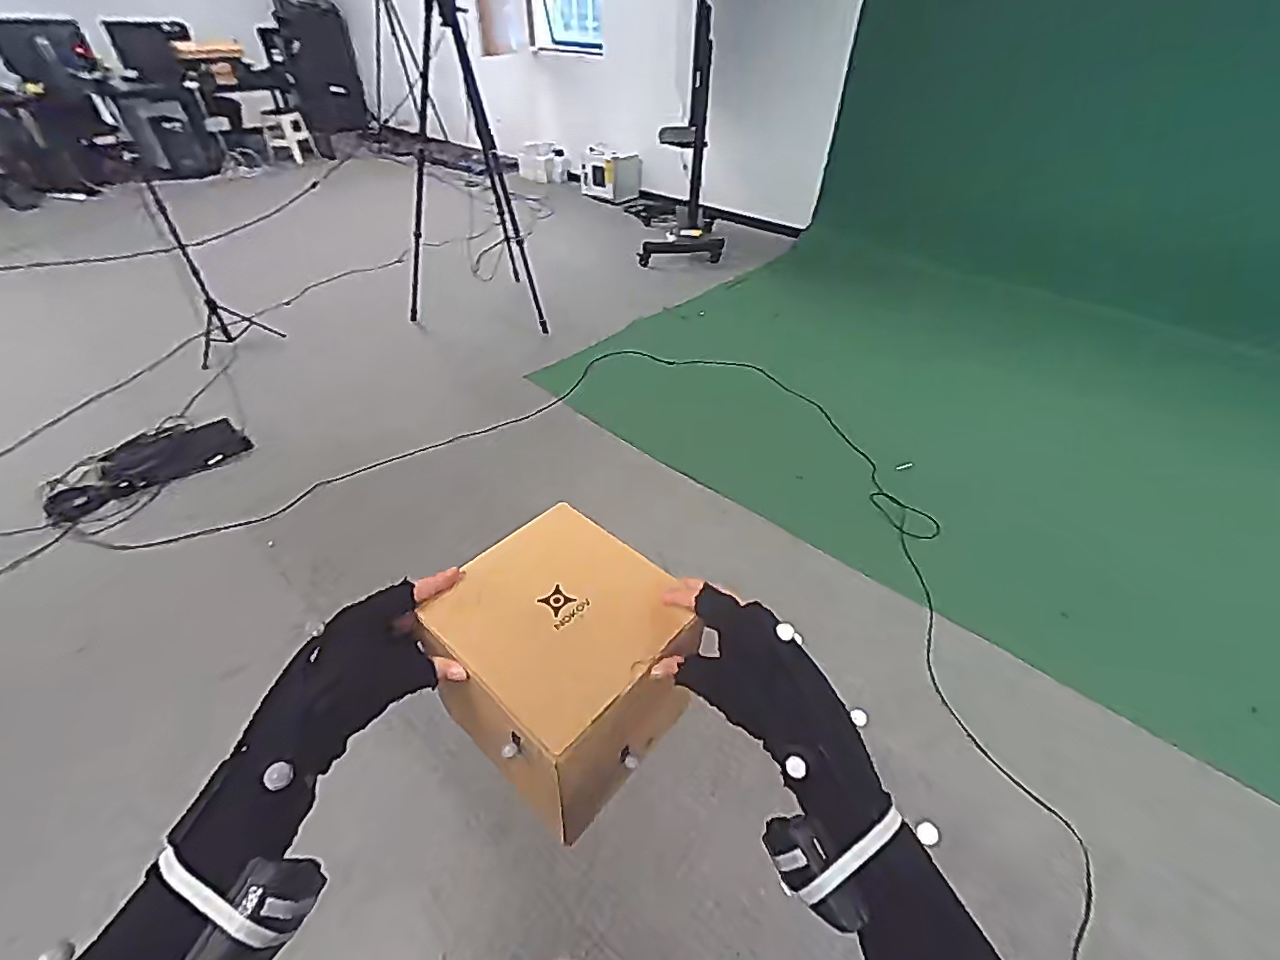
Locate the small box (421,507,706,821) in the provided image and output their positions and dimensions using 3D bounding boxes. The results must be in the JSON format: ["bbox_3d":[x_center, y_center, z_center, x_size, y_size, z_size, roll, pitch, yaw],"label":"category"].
[{"bbox_3d":[-0.067,0.162,0.491,0.179,0.176,0.168,32,48,28],"label":"small box"}]
